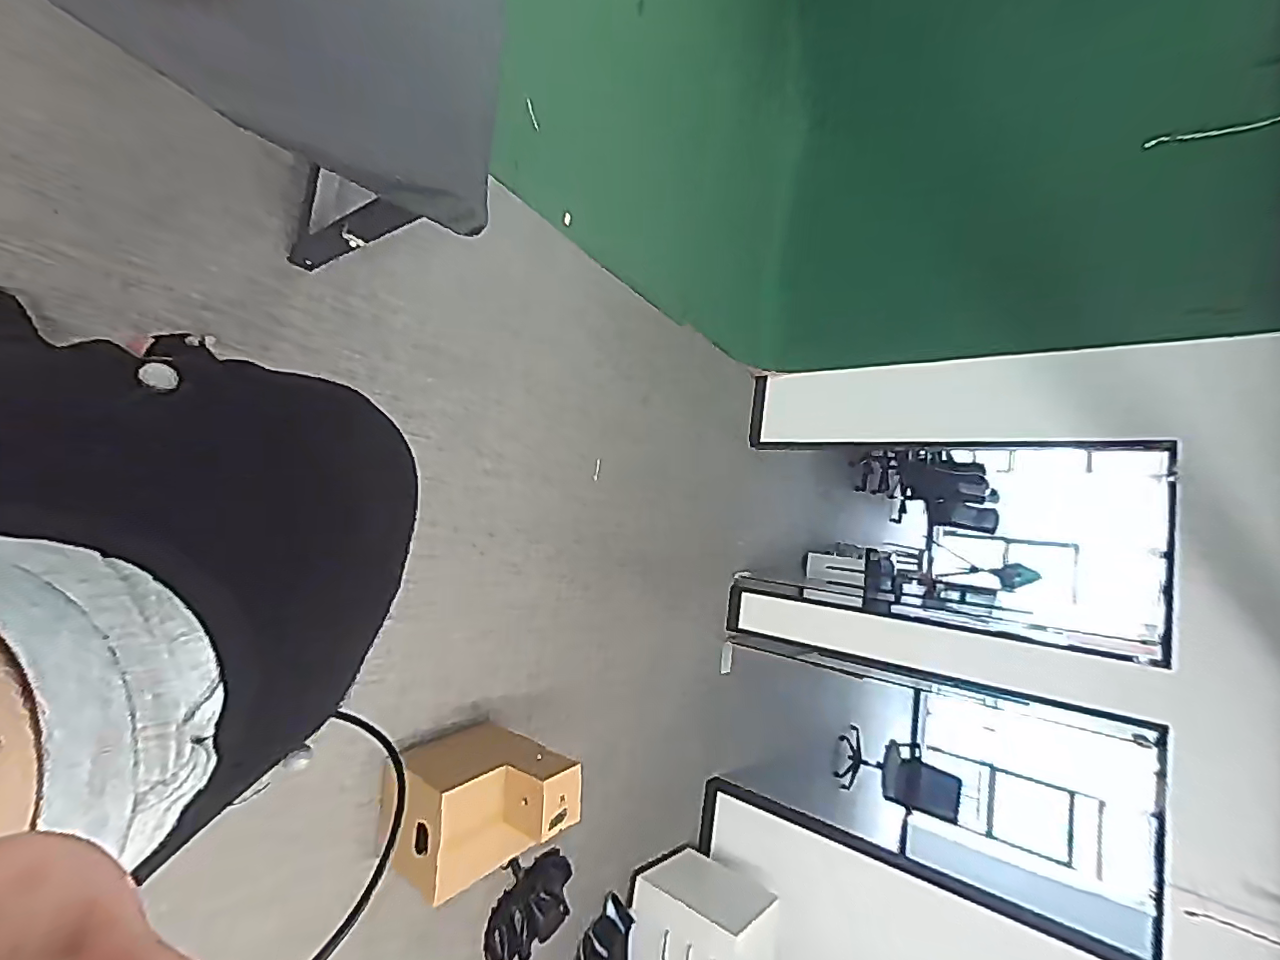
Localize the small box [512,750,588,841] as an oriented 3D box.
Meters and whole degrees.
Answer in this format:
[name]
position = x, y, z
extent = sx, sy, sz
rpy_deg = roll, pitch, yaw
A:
[small box]
position = -0.283, 0.971, 1.681
extent = 0.168, 0.176, 0.179
rpy_deg = 8, 82, -53
